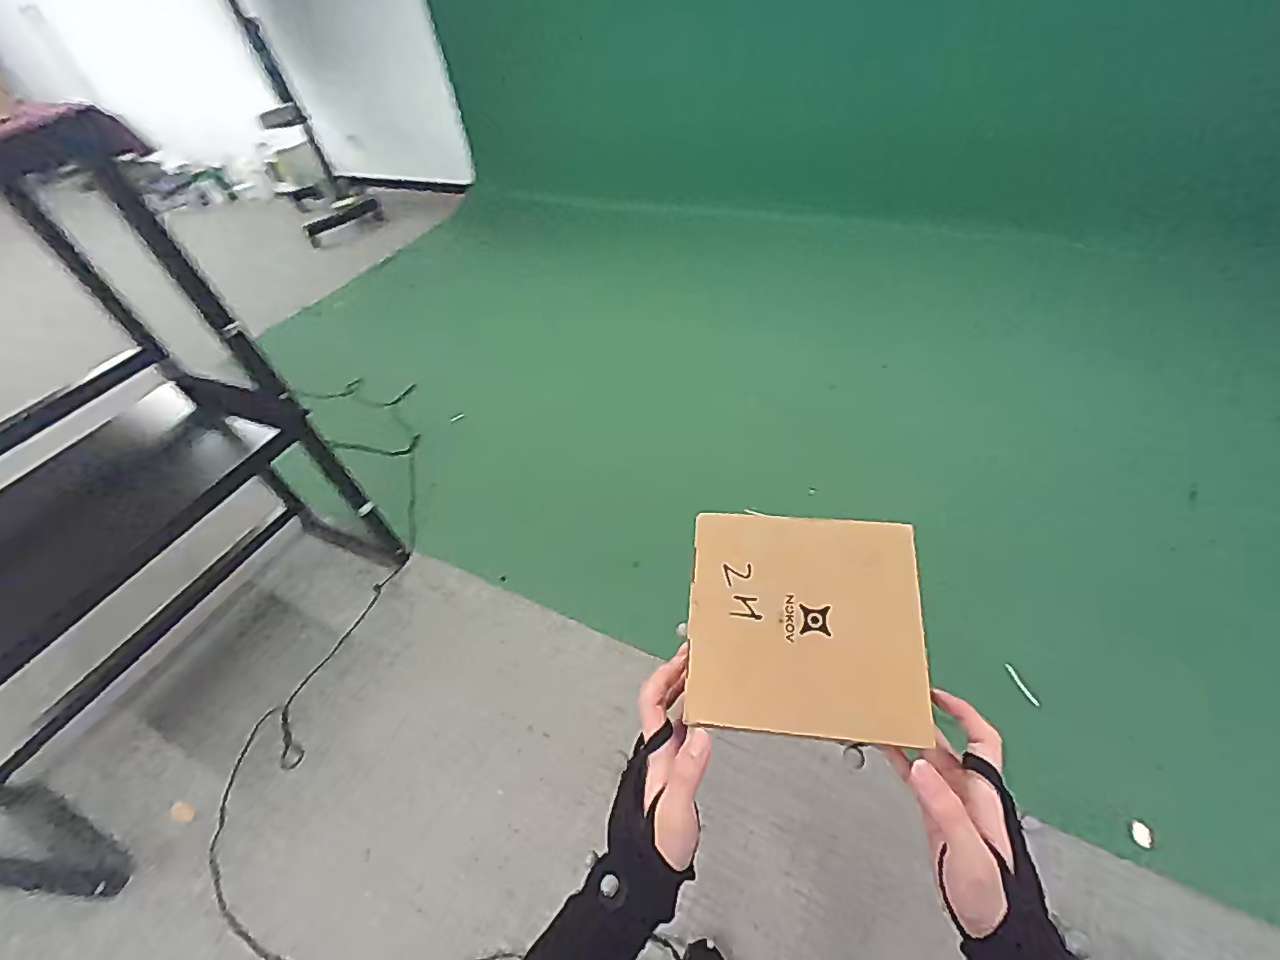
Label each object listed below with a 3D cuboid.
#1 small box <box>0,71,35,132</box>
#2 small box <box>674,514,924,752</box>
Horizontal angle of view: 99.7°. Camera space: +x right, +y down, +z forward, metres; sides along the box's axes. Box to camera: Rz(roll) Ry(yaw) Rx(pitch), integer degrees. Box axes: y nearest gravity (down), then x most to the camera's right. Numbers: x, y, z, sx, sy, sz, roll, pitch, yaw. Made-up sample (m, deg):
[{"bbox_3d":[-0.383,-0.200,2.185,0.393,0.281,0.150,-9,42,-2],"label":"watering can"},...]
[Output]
[{"bbox_3d":[-1.215,-0.682,0.919,0.179,0.176,0.168,16,52,24],"label":"small box"},{"bbox_3d":[0.127,0.140,0.486,0.179,0.176,0.168,2,66,9],"label":"small box"}]
